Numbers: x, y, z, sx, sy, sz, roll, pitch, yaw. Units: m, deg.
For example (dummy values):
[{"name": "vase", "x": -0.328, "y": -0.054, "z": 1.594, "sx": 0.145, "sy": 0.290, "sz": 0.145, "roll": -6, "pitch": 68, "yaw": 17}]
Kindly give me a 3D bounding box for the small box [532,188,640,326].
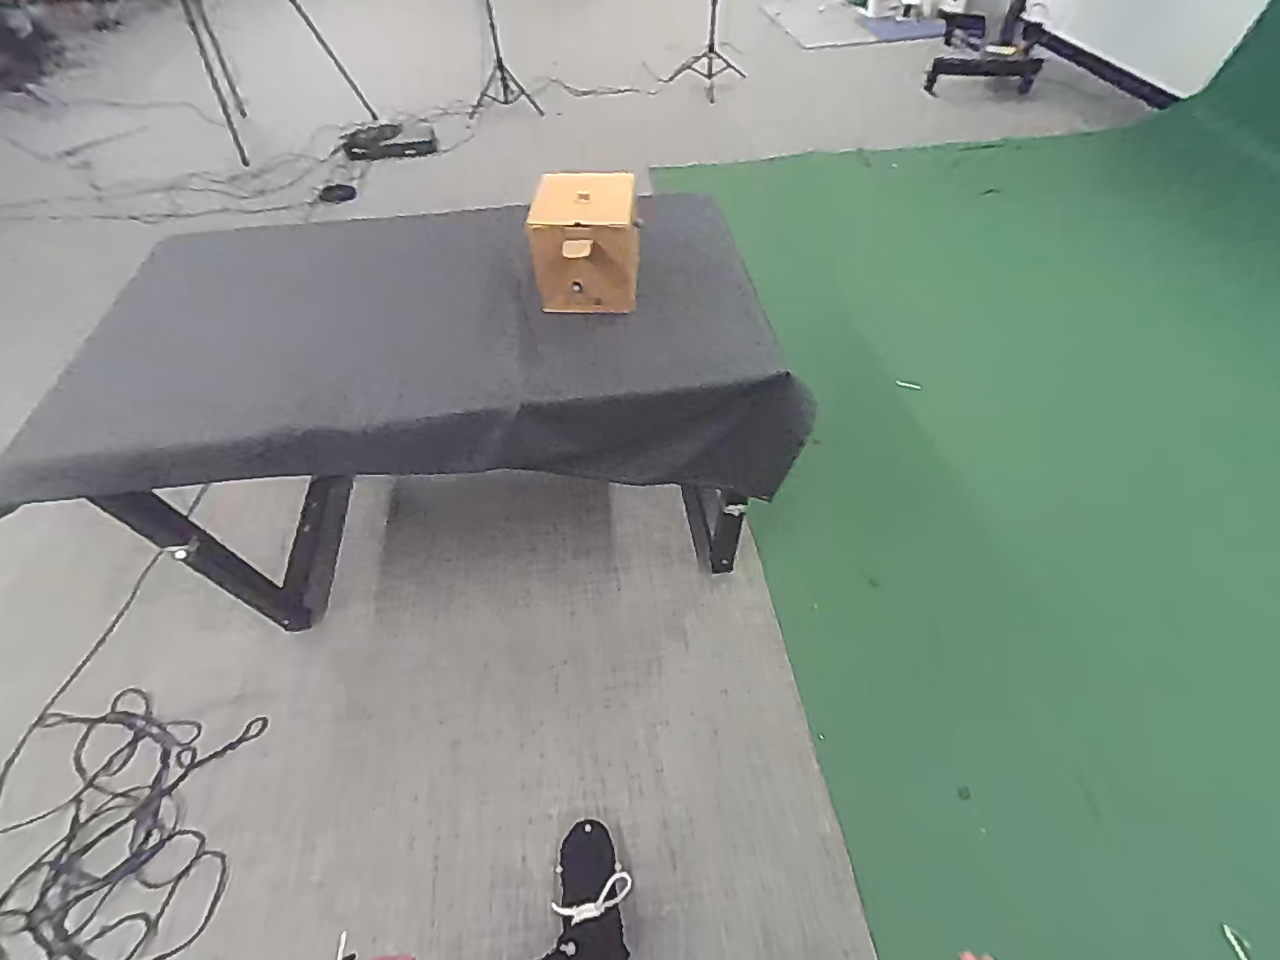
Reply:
[{"name": "small box", "x": -0.087, "y": -0.403, "z": 0.978, "sx": 0.168, "sy": 0.176, "sz": 0.179, "roll": 2, "pitch": 53, "yaw": 3}]
